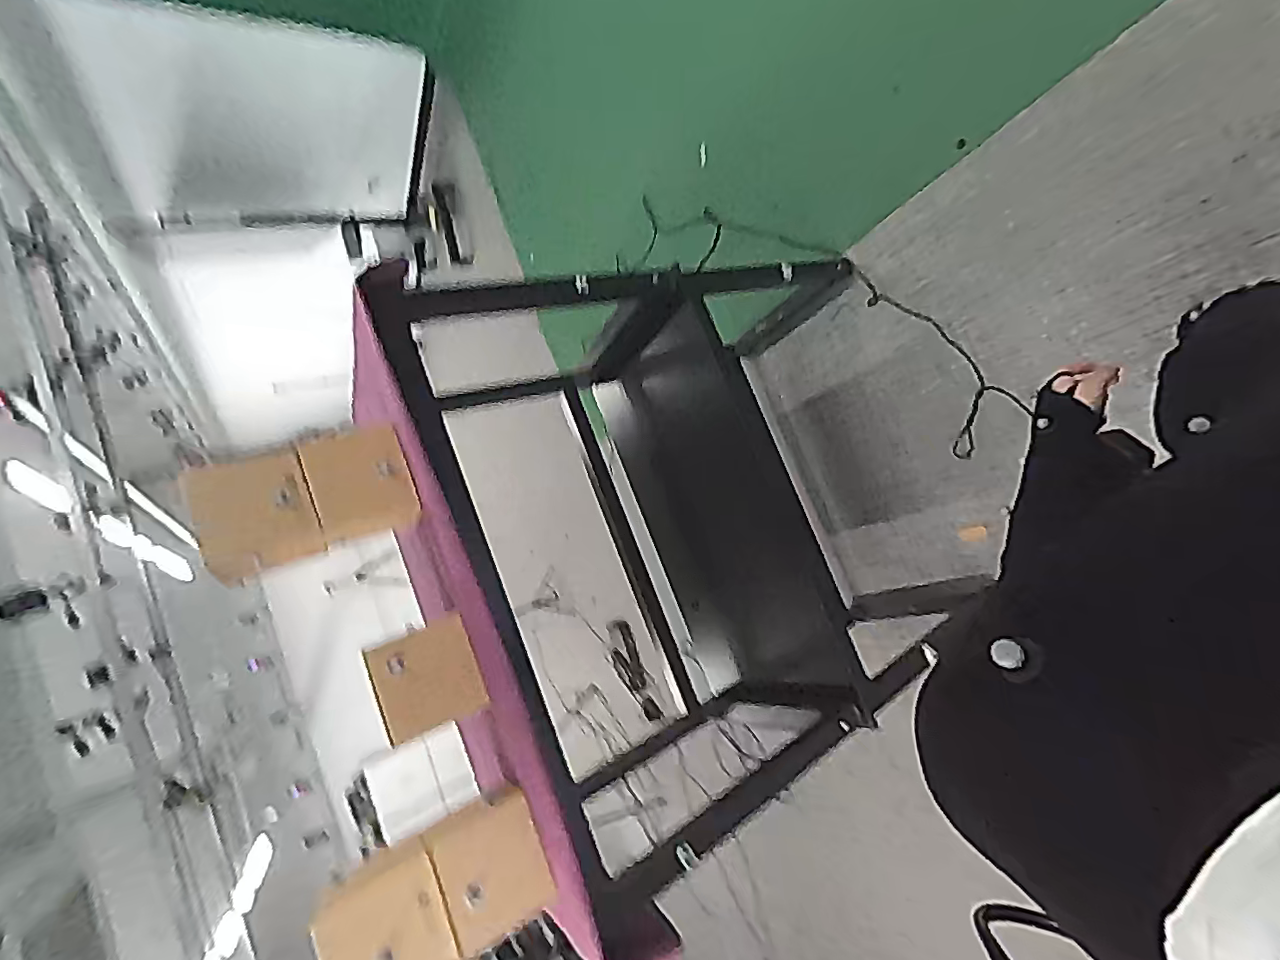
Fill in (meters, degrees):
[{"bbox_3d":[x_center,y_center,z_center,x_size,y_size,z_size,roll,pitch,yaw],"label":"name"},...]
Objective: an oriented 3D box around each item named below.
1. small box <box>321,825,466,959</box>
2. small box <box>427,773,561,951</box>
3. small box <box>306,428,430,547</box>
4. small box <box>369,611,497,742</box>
[{"bbox_3d":[-0.394,0.697,0.875,0.179,0.176,0.168,-40,71,57],"label":"small box"},{"bbox_3d":[-0.258,0.654,0.953,0.168,0.176,0.179,-39,71,57],"label":"small box"},{"bbox_3d":[-0.526,0.010,1.052,0.168,0.176,0.179,-35,75,59],"label":"small box"},{"bbox_3d":[-0.387,0.354,1.006,0.168,0.176,0.179,-33,77,58],"label":"small box"}]
